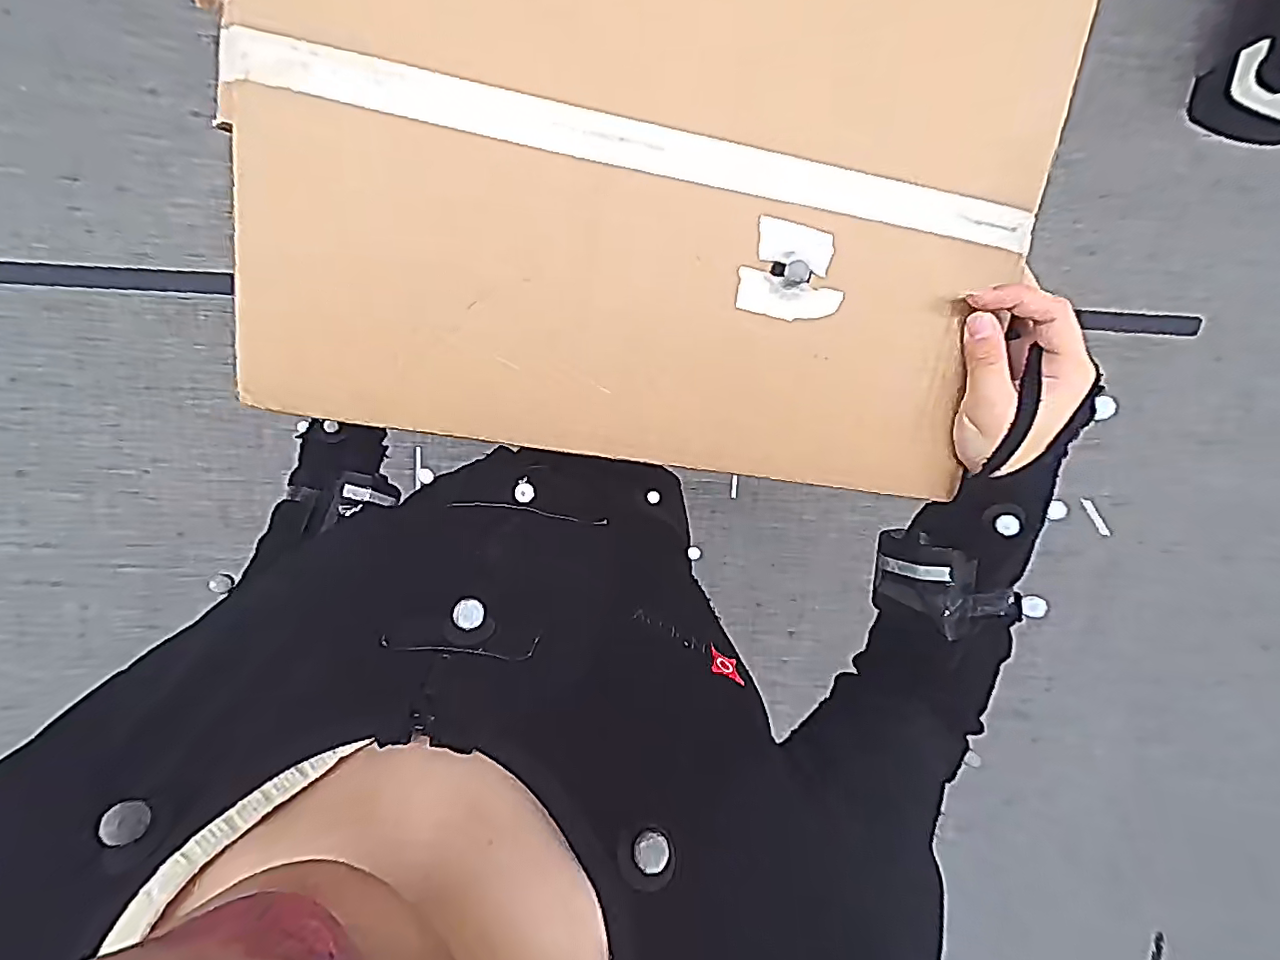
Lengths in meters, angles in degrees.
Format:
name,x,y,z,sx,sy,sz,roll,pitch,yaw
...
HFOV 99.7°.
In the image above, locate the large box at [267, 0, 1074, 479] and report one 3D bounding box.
name,x,y,z,sx,sy,sz,roll,pitch,yaw
large box,0.000,-0.201,0.424,0.408,0.320,0.320,7,103,-11
